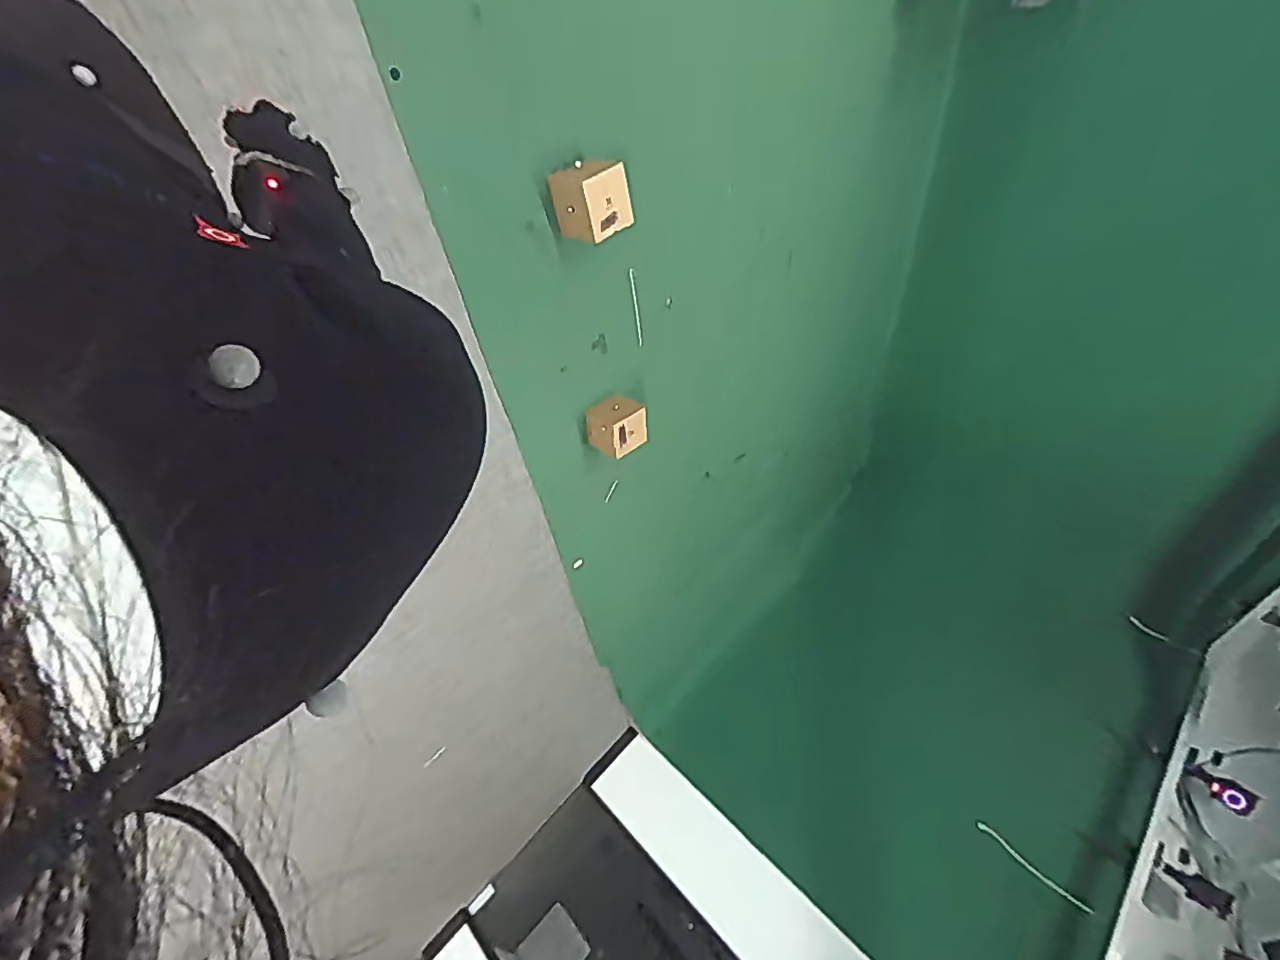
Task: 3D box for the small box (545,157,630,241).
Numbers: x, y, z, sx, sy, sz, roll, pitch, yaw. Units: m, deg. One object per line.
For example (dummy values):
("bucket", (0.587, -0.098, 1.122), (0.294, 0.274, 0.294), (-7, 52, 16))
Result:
("small box", (-0.158, -0.852, 1.632), (0.168, 0.176, 0.179), (-41, 140, -24))
